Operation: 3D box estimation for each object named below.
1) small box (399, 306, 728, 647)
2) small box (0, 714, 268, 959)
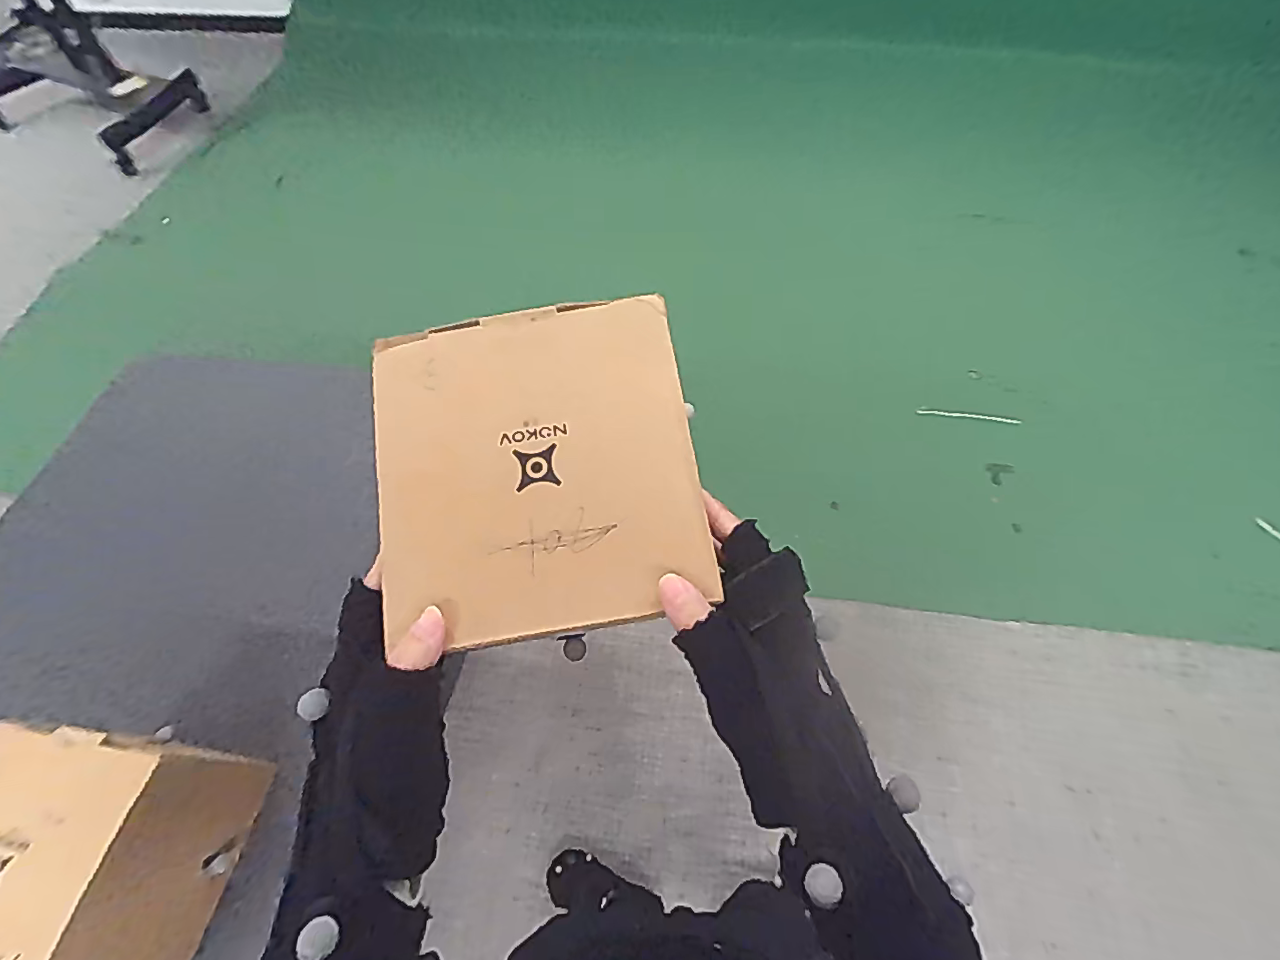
[{"bbox_3d":[-0.046,0.012,0.368,0.168,0.176,0.179,-8,75,-1],"label":"small box"},{"bbox_3d":[-0.492,0.334,0.498,0.168,0.176,0.179,7,59,6],"label":"small box"}]
